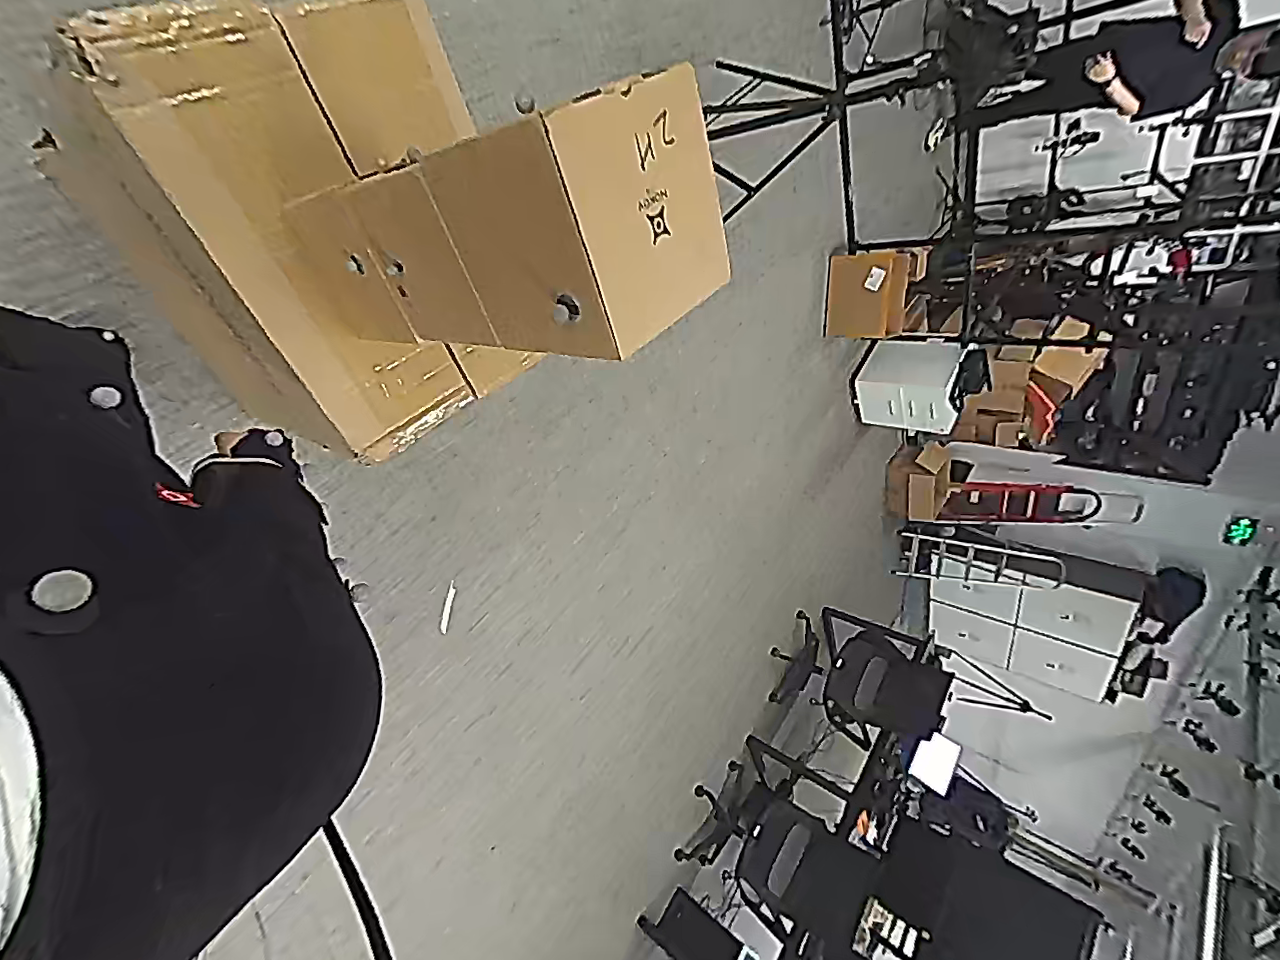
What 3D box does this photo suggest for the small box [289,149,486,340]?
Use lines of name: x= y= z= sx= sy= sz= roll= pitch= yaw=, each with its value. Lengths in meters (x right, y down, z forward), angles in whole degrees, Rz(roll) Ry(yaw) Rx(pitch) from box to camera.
small box: x=-0.297 y=-0.293 z=0.683 sx=0.168 sy=0.176 sz=0.179 roll=-44 pitch=132 yaw=-31

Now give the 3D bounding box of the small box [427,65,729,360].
small box: x=-0.048 y=-0.227 z=0.477 sx=0.168 sy=0.176 sz=0.179 roll=-44 pitch=131 yaw=-31
